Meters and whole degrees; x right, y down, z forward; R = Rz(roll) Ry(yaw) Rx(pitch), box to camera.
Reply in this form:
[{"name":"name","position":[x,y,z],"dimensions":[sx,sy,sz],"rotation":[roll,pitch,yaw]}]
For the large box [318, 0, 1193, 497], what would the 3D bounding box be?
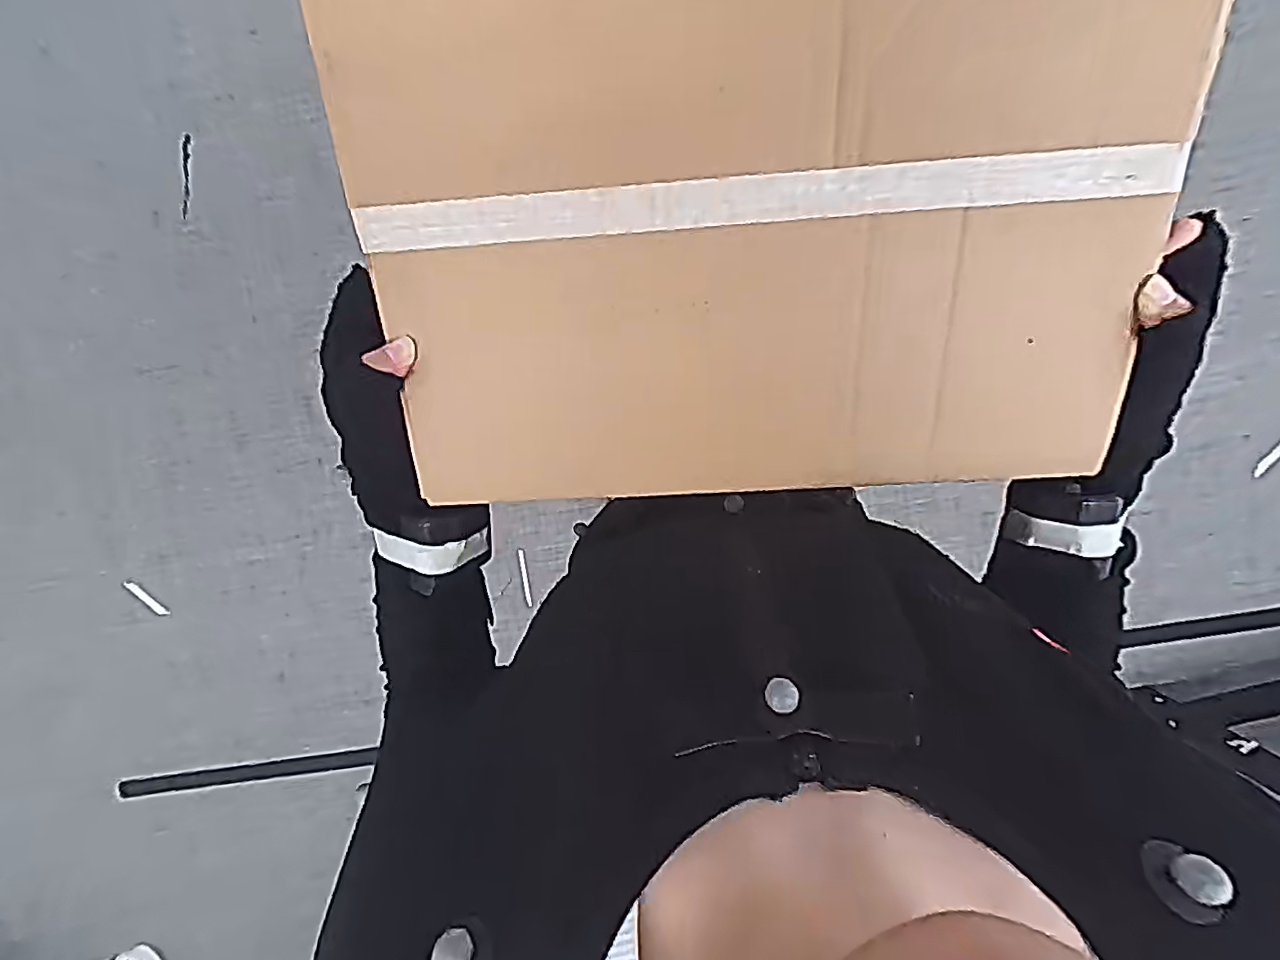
[{"name":"large box","position":[0.057,-0.198,0.417],"dimensions":[0.408,0.320,0.320],"rotation":[-3,113,3]}]
